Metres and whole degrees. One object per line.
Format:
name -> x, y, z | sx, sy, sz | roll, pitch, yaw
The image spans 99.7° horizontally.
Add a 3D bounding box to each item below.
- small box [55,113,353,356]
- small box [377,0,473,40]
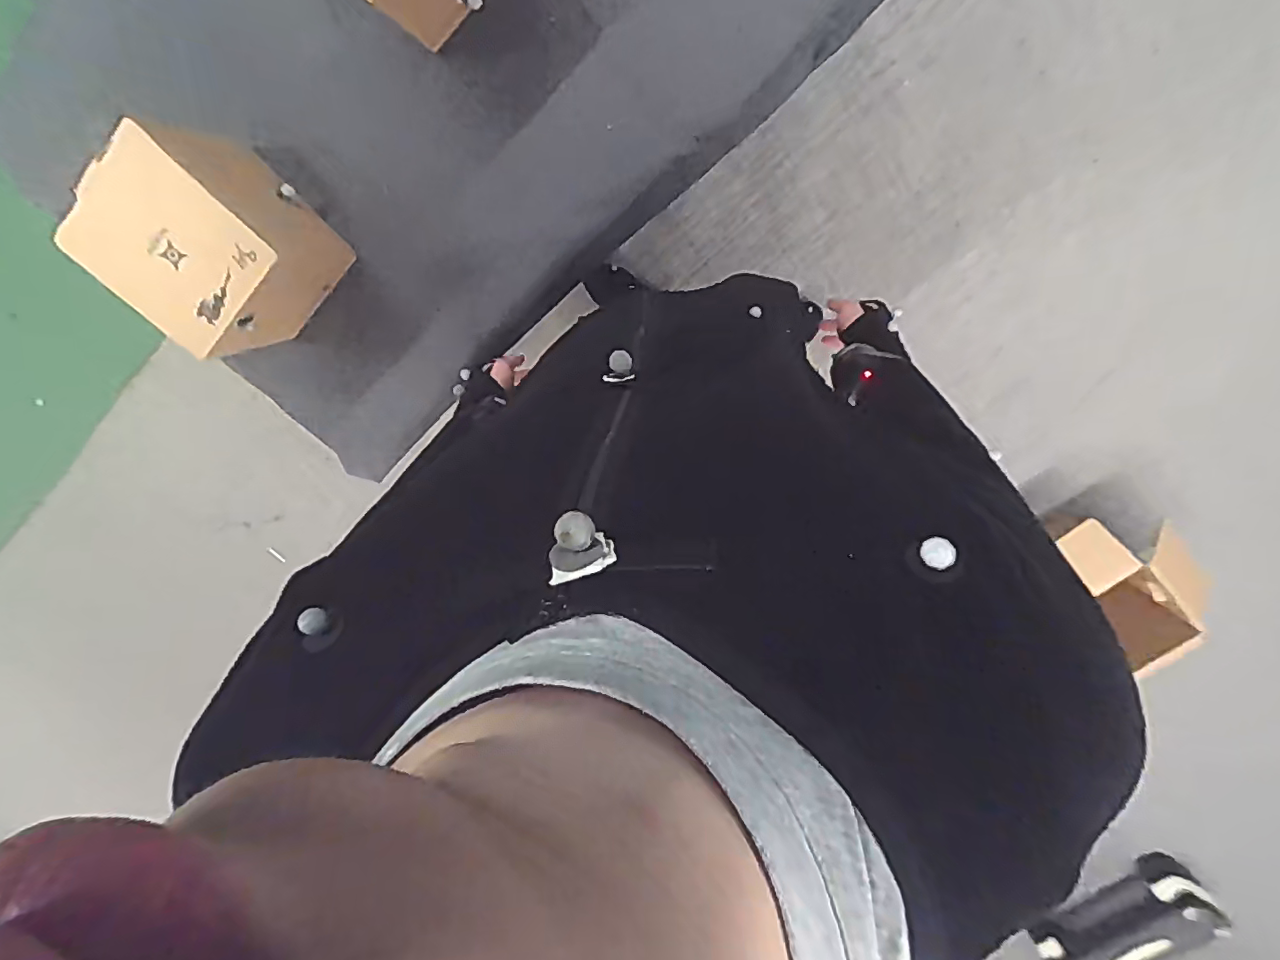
small box -> -0.490, -0.276, 0.635 | 0.168, 0.176, 0.179 | -40, 107, 18
small box -> -0.238, -0.566, 0.499 | 0.168, 0.176, 0.179 | -40, 109, 19
